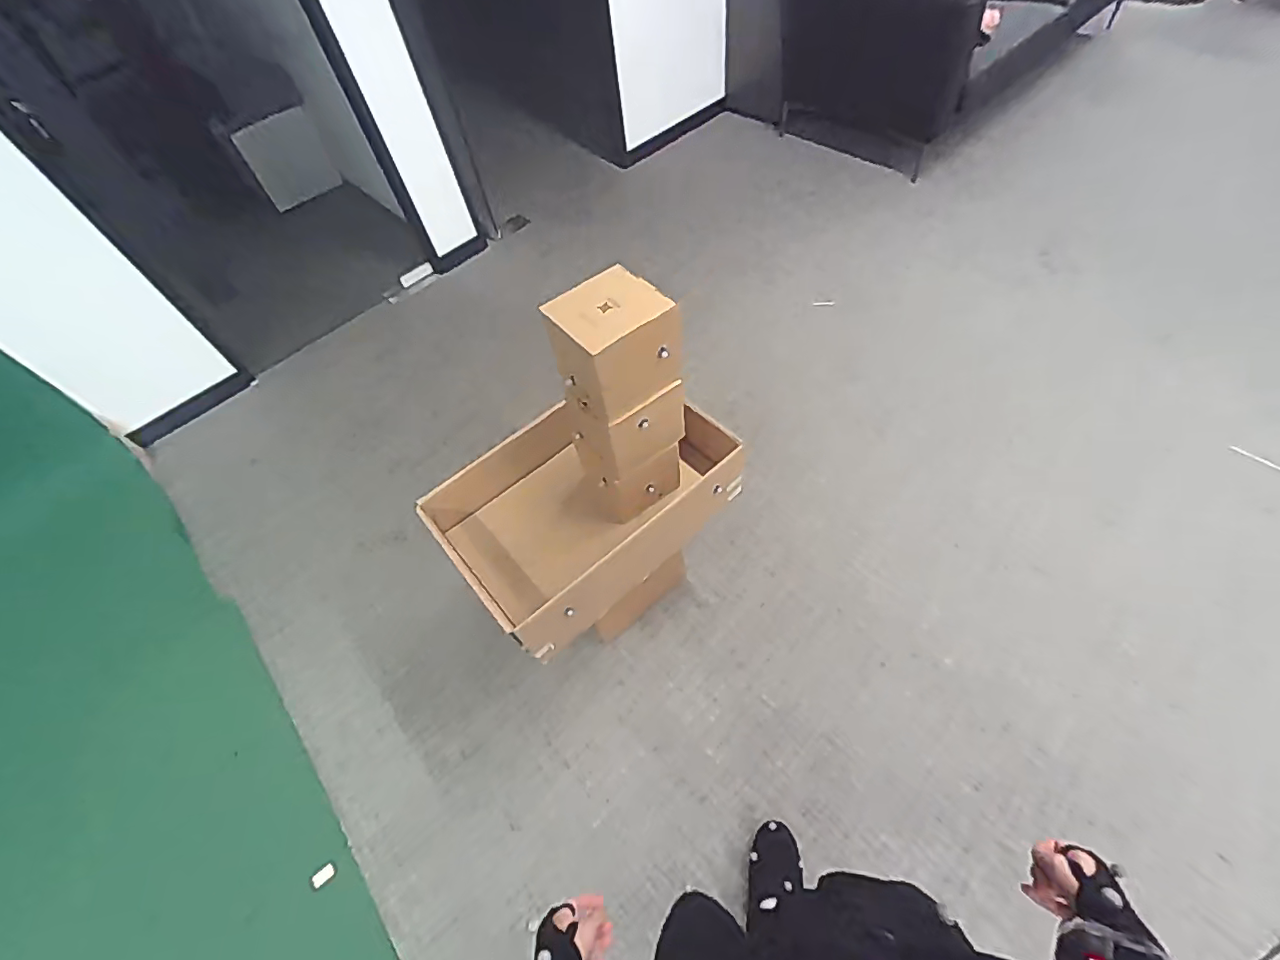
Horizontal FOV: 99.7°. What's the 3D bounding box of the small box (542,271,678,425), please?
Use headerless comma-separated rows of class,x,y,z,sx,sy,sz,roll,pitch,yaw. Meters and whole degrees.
small box,-0.046,-0.233,0.969,0.179,0.176,0.168,-35,57,-16

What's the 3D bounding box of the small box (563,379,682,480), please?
small box,-0.027,-0.131,1.094,0.179,0.176,0.168,-34,58,-17

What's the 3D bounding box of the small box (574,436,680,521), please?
small box,-0.022,-0.030,1.224,0.168,0.176,0.179,-33,57,-16
